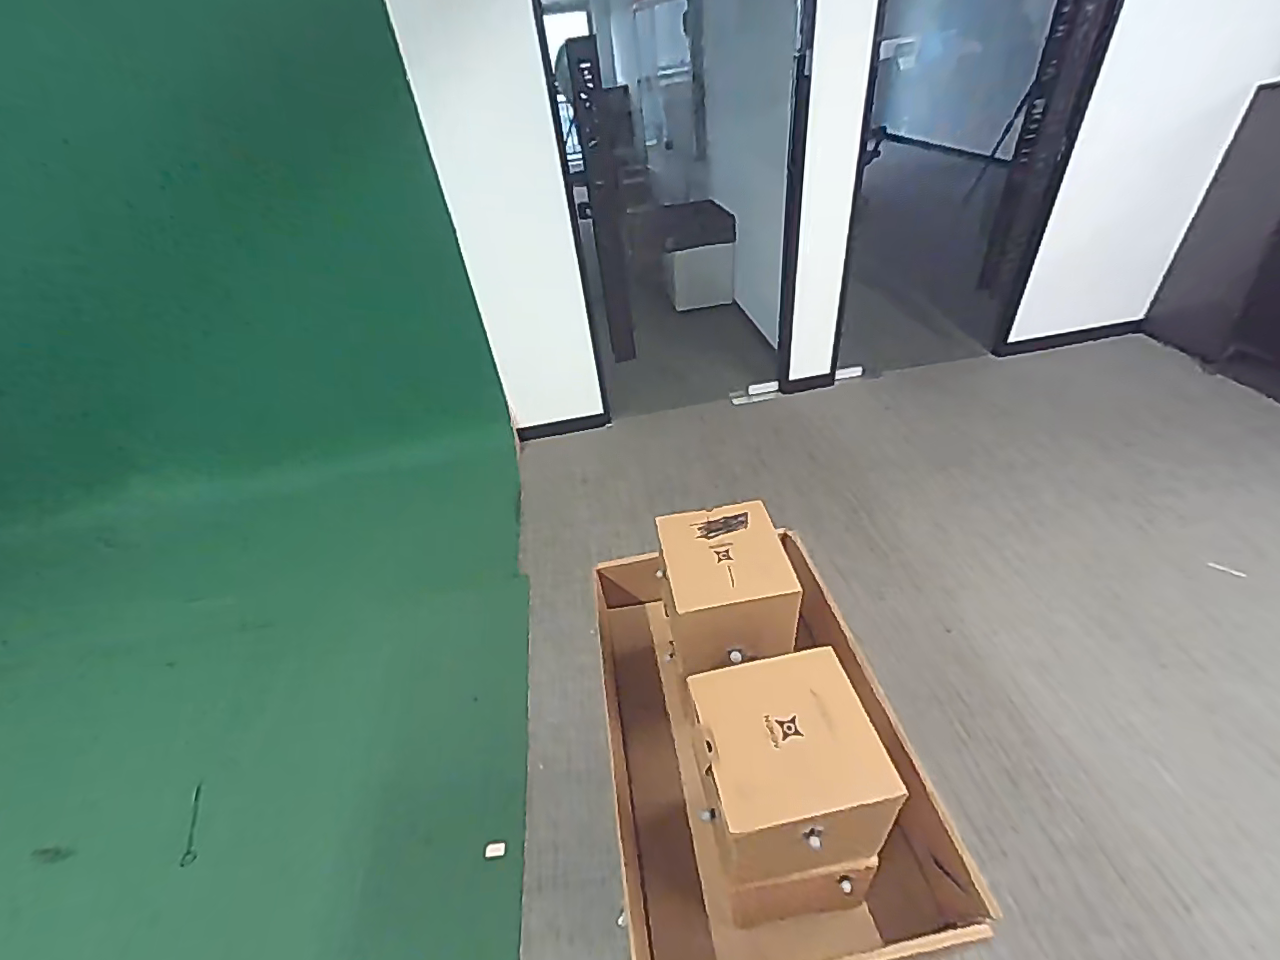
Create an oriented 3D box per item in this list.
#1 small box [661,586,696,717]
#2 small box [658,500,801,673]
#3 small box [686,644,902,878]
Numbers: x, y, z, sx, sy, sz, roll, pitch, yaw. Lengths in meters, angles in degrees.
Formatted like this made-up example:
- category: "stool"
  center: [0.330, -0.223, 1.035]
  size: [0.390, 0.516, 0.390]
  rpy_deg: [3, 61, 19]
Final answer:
- category: "small box"
  center: [0.140, 0.278, 0.915]
  size: [0.179, 0.176, 0.168]
  rpy_deg: [-10, 42, -1]
- category: "small box"
  center: [0.123, 0.157, 0.804]
  size: [0.168, 0.176, 0.179]
  rpy_deg: [-10, 42, -2]
- category: "small box"
  center: [0.160, 0.318, 0.613]
  size: [0.179, 0.176, 0.168]
  rpy_deg: [-11, 40, -5]
